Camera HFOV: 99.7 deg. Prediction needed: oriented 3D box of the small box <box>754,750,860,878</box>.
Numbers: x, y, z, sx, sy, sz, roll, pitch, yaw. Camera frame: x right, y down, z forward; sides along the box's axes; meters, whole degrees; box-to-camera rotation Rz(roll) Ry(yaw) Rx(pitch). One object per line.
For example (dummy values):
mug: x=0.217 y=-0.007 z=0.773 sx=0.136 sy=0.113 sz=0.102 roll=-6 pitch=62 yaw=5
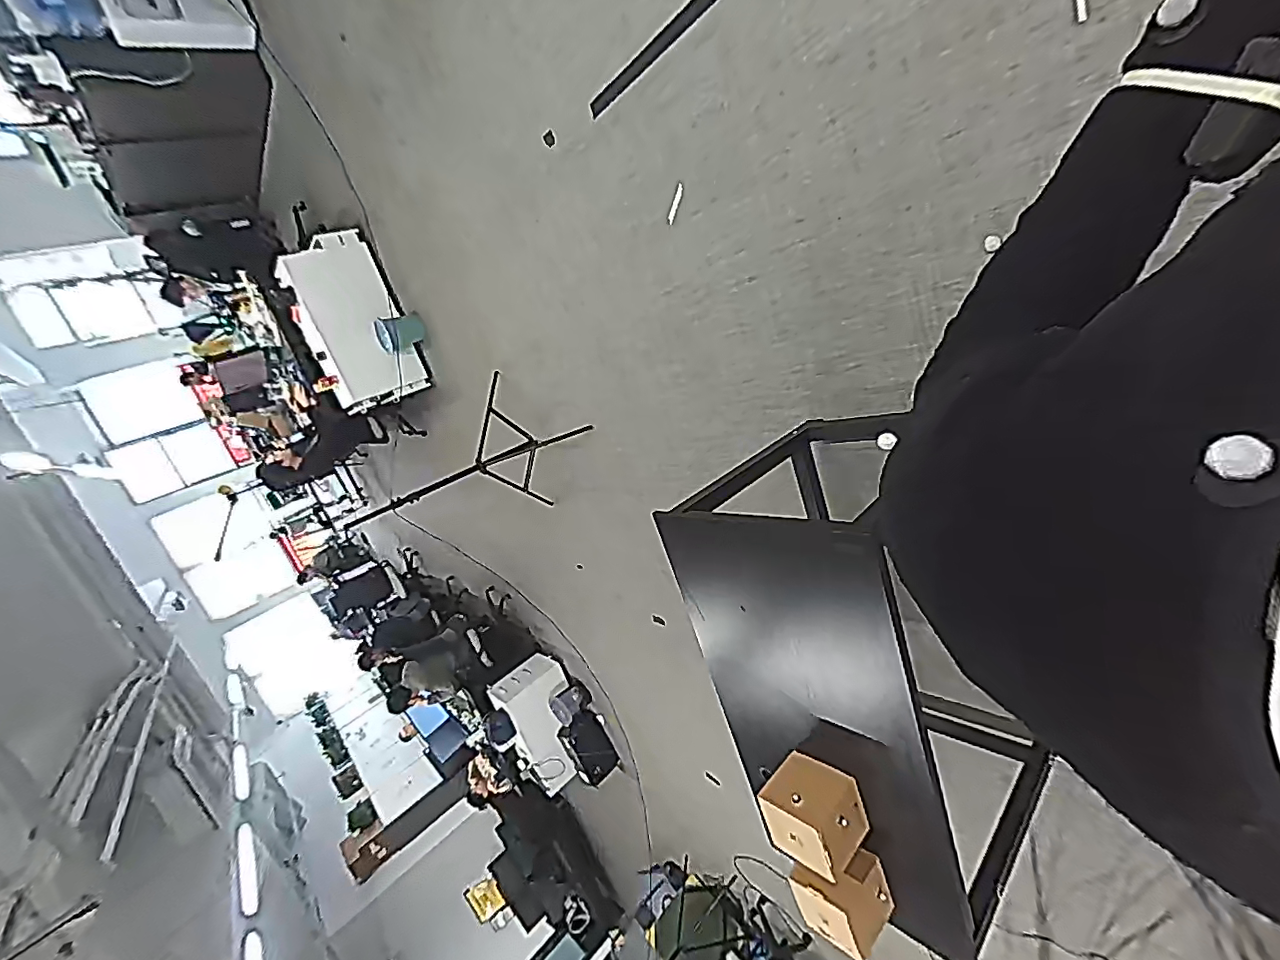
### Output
small box: x=0.416 y=0.802 z=1.321 sx=0.179 sy=0.176 sz=0.168 roll=0 pitch=114 yaw=53

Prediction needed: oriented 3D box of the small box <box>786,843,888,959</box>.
small box: x=0.506 y=1.041 z=1.383 sx=0.168 sy=0.176 sz=0.179 roll=-2 pitch=113 yaw=53
